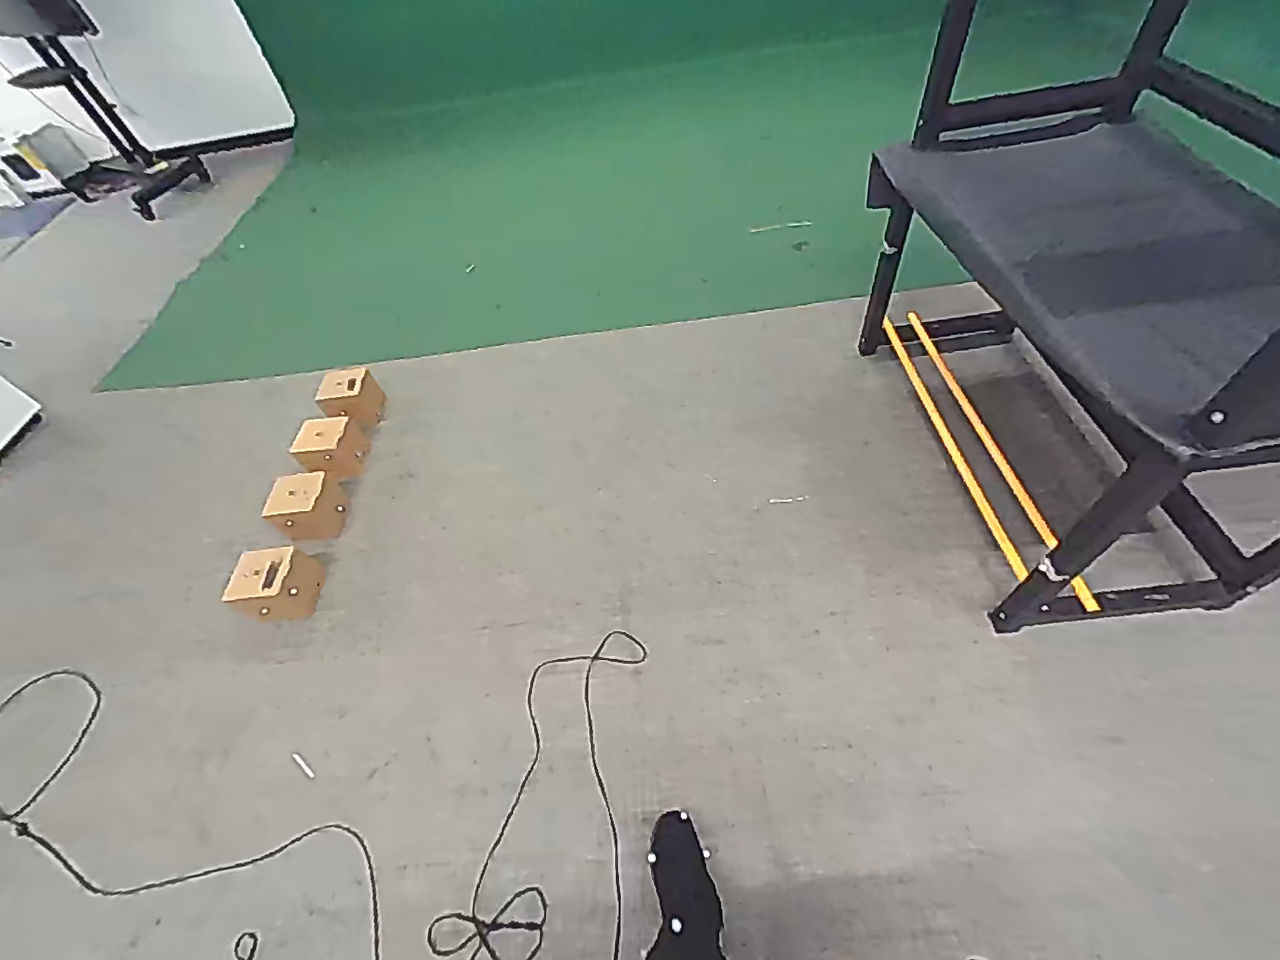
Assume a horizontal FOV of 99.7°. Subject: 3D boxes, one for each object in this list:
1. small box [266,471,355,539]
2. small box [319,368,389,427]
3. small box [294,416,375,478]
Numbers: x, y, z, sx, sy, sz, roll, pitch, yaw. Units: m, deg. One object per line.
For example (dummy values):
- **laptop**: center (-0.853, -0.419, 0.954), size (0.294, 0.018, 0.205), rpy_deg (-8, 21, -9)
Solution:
- **small box**: center (-1.125, 0.092, 1.858), size (0.179, 0.176, 0.168), rpy_deg (-6, 53, 3)
- **small box**: center (-1.149, -0.327, 2.192), size (0.179, 0.176, 0.168), rpy_deg (-8, 51, 3)
- **small box**: center (-1.137, -0.116, 2.026), size (0.179, 0.176, 0.168), rpy_deg (-5, 51, 4)
